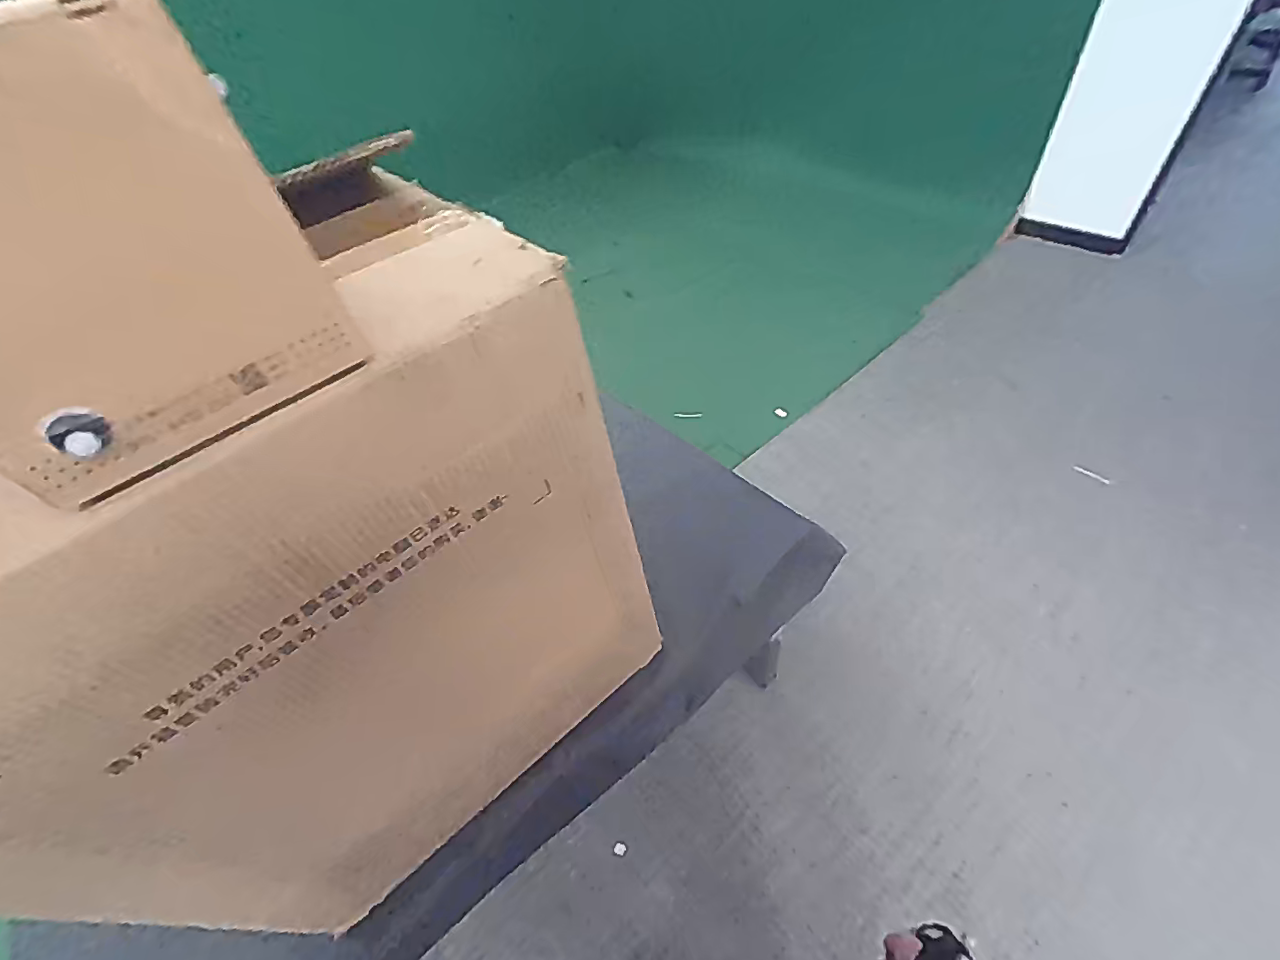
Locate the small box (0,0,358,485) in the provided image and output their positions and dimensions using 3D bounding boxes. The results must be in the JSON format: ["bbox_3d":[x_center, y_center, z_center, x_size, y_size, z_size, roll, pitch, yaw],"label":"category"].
[{"bbox_3d":[-0.285,-0.122,0.281,0.168,0.176,0.179,-37,52,-22],"label":"small box"}]
